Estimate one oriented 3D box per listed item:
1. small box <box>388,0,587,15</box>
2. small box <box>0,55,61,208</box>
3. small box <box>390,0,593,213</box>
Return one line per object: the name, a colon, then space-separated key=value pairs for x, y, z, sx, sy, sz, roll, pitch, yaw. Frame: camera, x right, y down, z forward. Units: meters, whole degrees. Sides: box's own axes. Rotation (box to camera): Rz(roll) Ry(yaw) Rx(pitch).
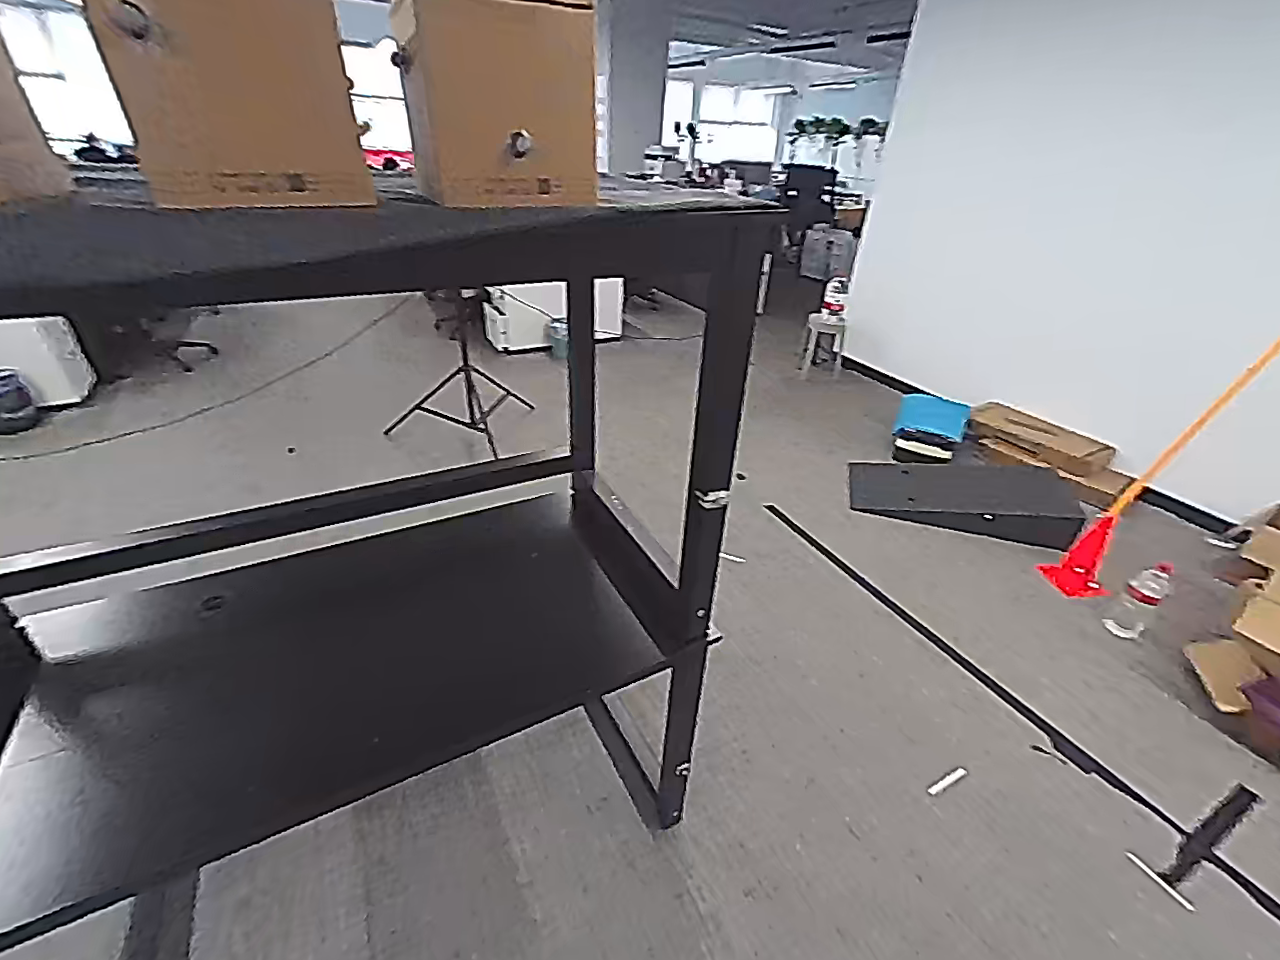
small box: x=-0.151 y=-0.529 z=0.495 sx=0.168 sy=0.176 sz=0.179 roll=-13 pitch=35 yaw=-23
small box: x=-0.590 y=-0.291 z=0.393 sx=0.168 sy=0.176 sz=0.179 roll=-12 pitch=33 yaw=-23
small box: x=-0.157 y=-0.389 z=0.579 sx=0.168 sy=0.176 sz=0.179 roll=-14 pitch=35 yaw=-23
